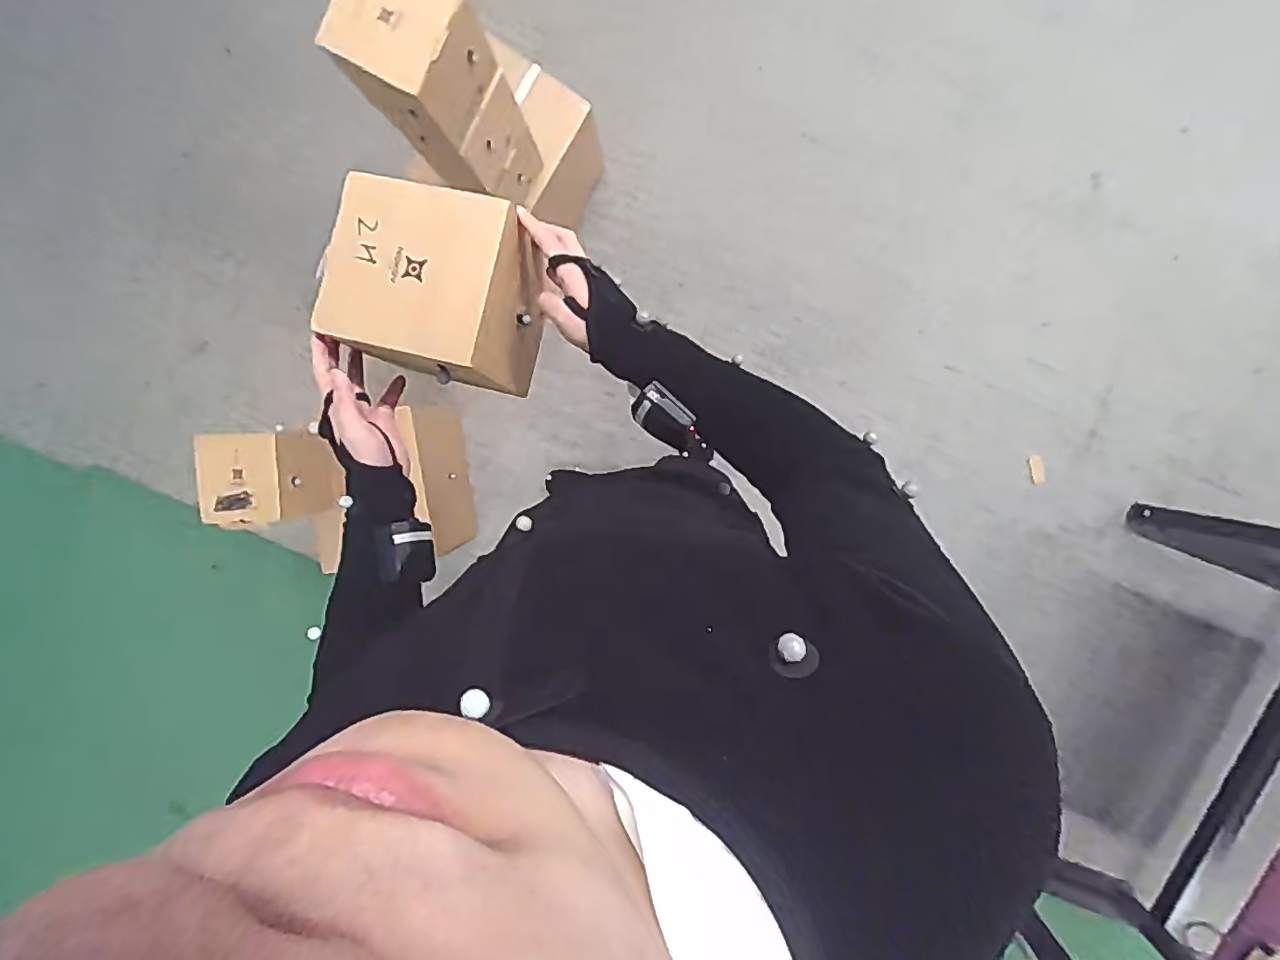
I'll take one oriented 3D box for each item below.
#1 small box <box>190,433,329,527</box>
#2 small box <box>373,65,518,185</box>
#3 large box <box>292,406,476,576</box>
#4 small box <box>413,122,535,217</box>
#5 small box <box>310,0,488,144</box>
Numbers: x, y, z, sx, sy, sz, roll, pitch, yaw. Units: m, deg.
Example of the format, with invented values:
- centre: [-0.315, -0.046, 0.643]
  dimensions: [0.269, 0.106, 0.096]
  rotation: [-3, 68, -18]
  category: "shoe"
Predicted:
- centre: [-0.771, -0.006, 1.116]
  dimensions: [0.168, 0.176, 0.179]
  rotation: [-2, 95, 3]
  category: "small box"
- centre: [-0.358, -0.698, 1.030]
  dimensions: [0.179, 0.176, 0.168]
  rotation: [29, 97, 0]
  category: "small box"
- centre: [-0.694, 0.015, 1.528]
  dimensions: [0.320, 0.320, 0.408]
  rotation: [-9, 96, 4]
  category: "large box"
- centre: [-0.354, -0.712, 1.192]
  dimensions: [0.179, 0.176, 0.168]
  rotation: [29, 96, -2]
  category: "small box"
- centre: [-0.371, -0.682, 0.868]
  dimensions: [0.179, 0.176, 0.168]
  rotation: [28, 96, 0]
  category: "small box"
